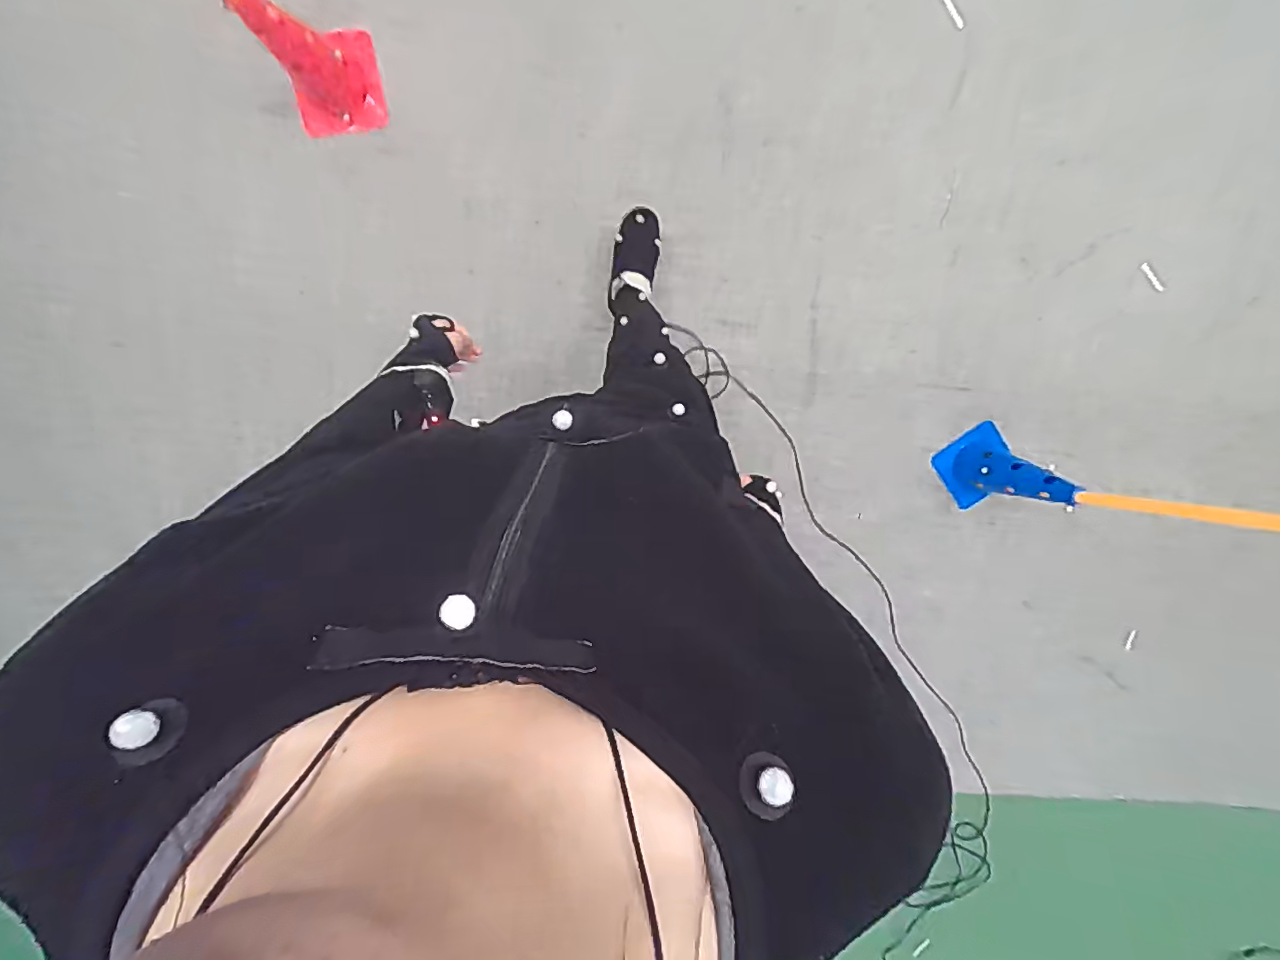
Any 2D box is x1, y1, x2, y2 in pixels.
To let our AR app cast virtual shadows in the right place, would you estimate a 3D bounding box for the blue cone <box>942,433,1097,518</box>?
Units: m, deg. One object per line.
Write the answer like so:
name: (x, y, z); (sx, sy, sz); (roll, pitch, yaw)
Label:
blue cone: (0.962, 0.018, 1.351); (0.193, 0.380, 0.192); (-39, 102, 6)
